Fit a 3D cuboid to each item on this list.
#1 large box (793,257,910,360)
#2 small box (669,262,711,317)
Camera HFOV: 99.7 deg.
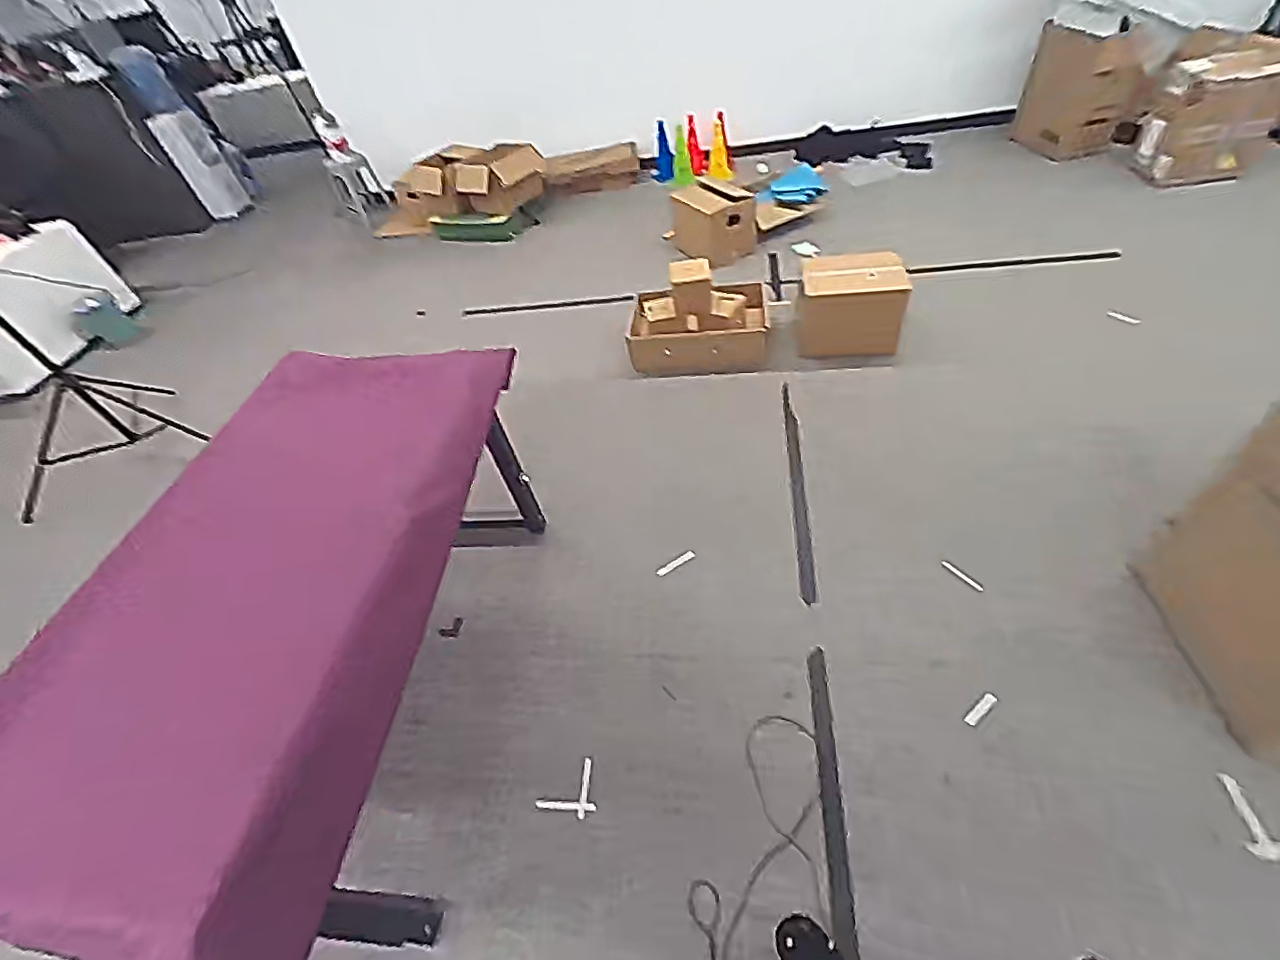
[{"bbox_3d":[0.897,-0.743,2.355,0.408,0.320,0.320,0,49,9],"label":"large box"},{"bbox_3d":[0.218,-0.826,2.362,0.168,0.176,0.179,-6,46,4],"label":"small box"}]
